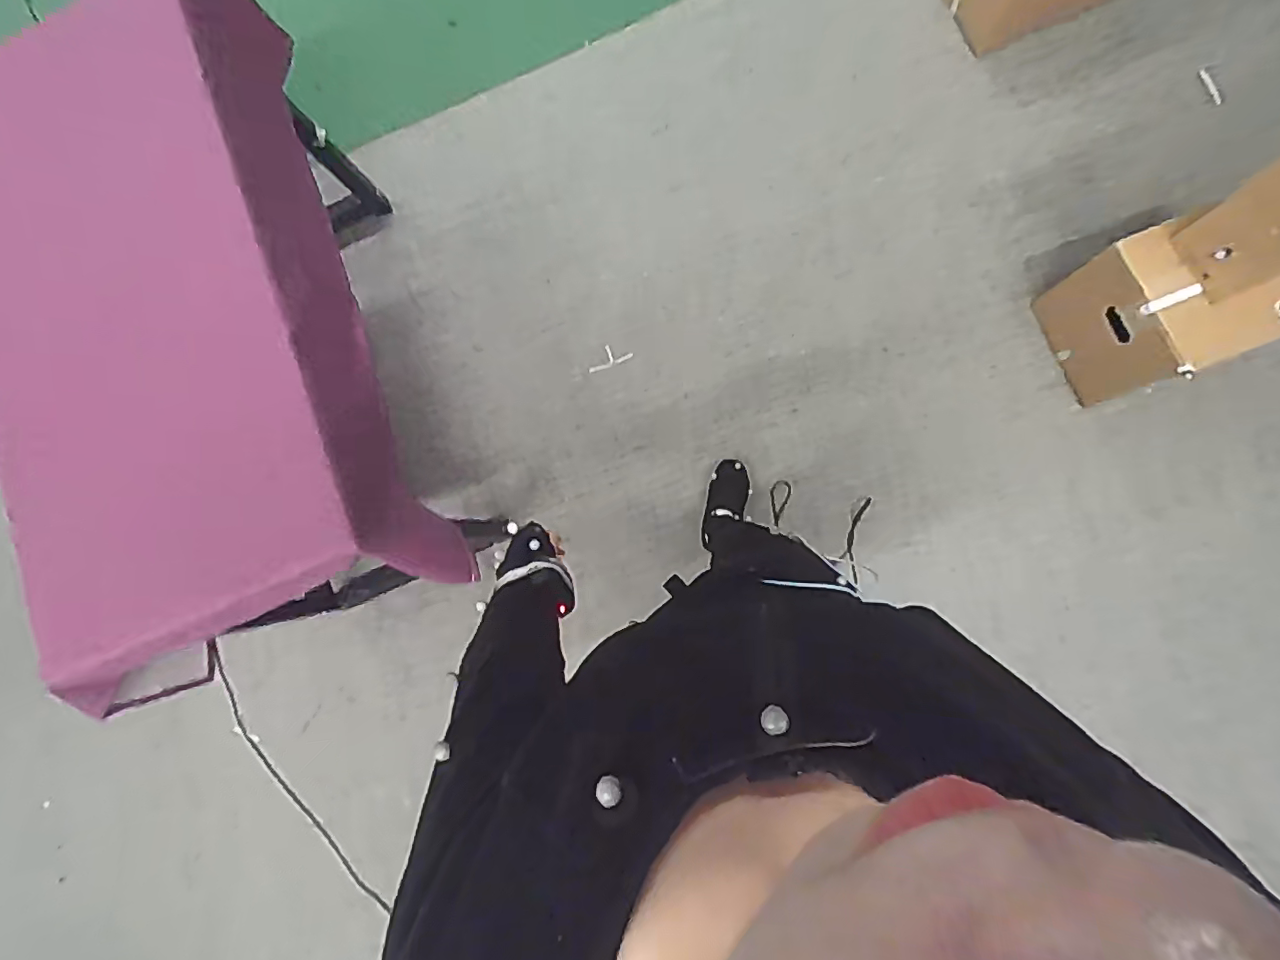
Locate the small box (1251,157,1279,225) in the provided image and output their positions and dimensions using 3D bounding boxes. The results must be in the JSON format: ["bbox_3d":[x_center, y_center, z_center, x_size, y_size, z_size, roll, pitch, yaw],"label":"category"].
[{"bbox_3d":[1.164,-0.493,0.853,0.168,0.176,0.179,-25,80,4],"label":"small box"}]

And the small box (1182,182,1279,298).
[{"bbox_3d":[1.192,-0.475,1.015,0.179,0.176,0.168,-25,80,5],"label":"small box"}]

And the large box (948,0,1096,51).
[{"bbox_3d":[1.052,-1.419,1.371,0.408,0.320,0.320,-21,81,4],"label":"large box"}]
